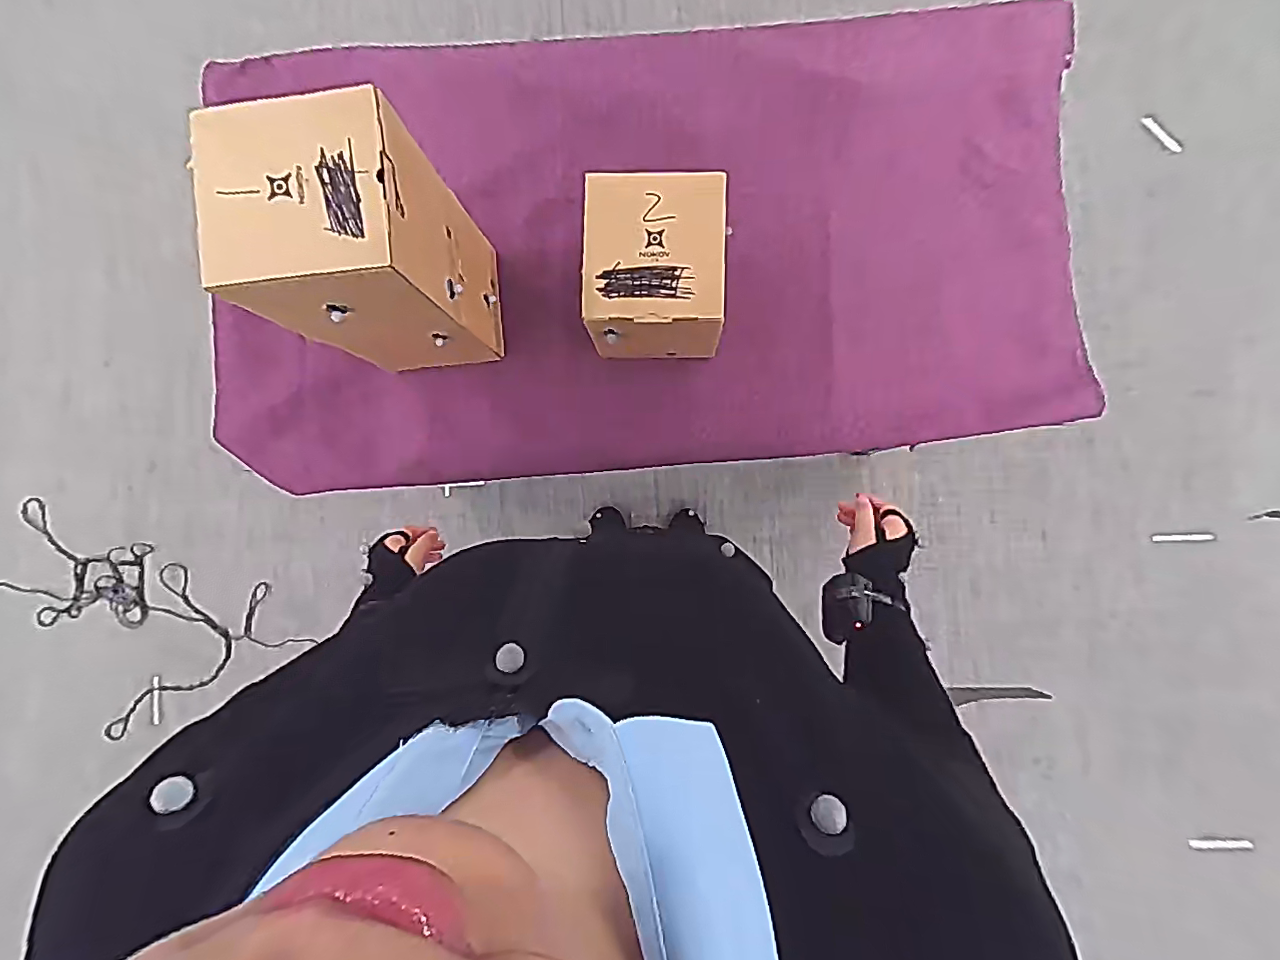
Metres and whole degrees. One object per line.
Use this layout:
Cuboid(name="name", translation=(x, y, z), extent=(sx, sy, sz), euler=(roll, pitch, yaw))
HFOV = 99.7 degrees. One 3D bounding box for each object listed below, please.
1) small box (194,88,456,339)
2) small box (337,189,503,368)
Cuboid(name="small box", translation=(-0.302, -0.255, 0.557), extent=(0.179, 0.176, 0.168), euler=(-6, 87, 2))
Cuboid(name="small box", translation=(-0.297, -0.254, 0.722), extent=(0.179, 0.176, 0.168), euler=(-6, 88, 2))
